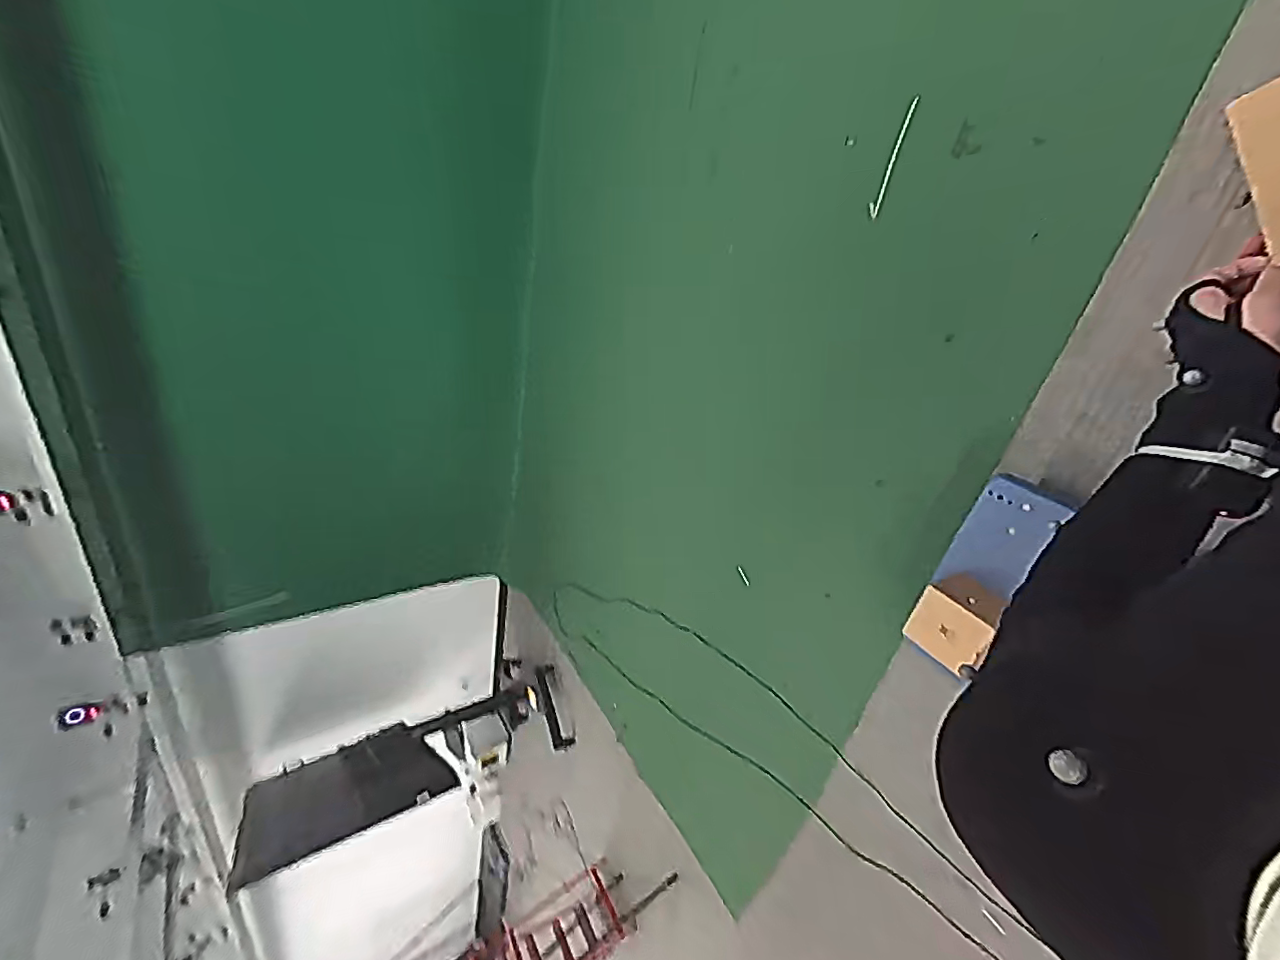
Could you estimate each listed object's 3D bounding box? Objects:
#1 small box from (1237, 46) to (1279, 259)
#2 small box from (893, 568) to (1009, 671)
[{"bbox_3d":[0.632,-0.286,0.442,0.168,0.176,0.179,-15,86,53],"label":"small box"},{"bbox_3d":[0.803,0.350,1.396,0.179,0.176,0.168,41,128,41],"label":"small box"}]
